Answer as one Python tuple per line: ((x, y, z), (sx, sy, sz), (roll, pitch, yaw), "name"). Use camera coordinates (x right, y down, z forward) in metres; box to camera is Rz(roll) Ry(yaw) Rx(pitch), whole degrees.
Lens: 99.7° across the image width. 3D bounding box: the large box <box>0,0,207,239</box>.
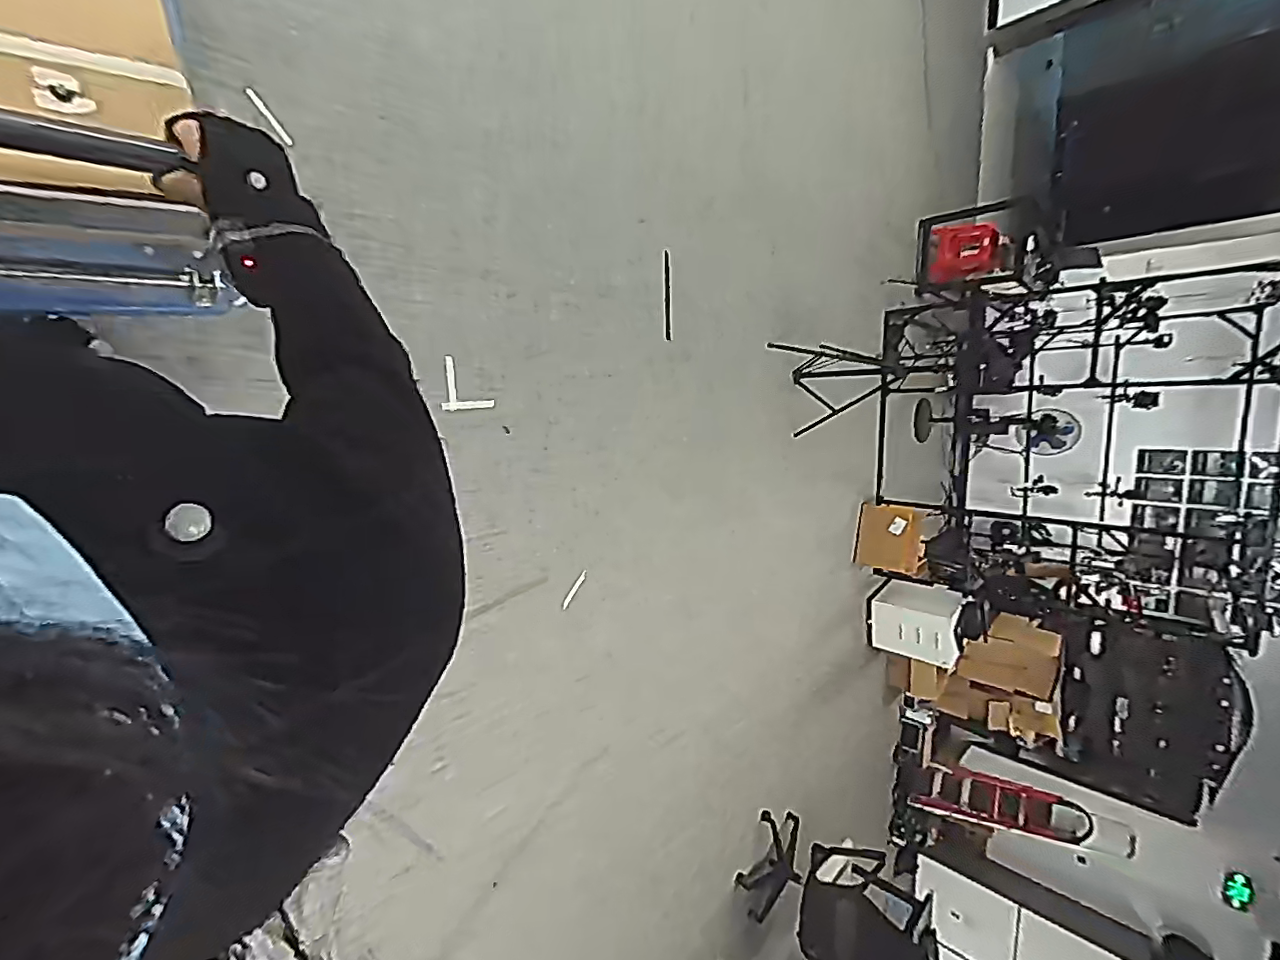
((-0.908, -0.533, 0.736), (0.408, 0.320, 0.320), (-20, 110, -45), "large box")
